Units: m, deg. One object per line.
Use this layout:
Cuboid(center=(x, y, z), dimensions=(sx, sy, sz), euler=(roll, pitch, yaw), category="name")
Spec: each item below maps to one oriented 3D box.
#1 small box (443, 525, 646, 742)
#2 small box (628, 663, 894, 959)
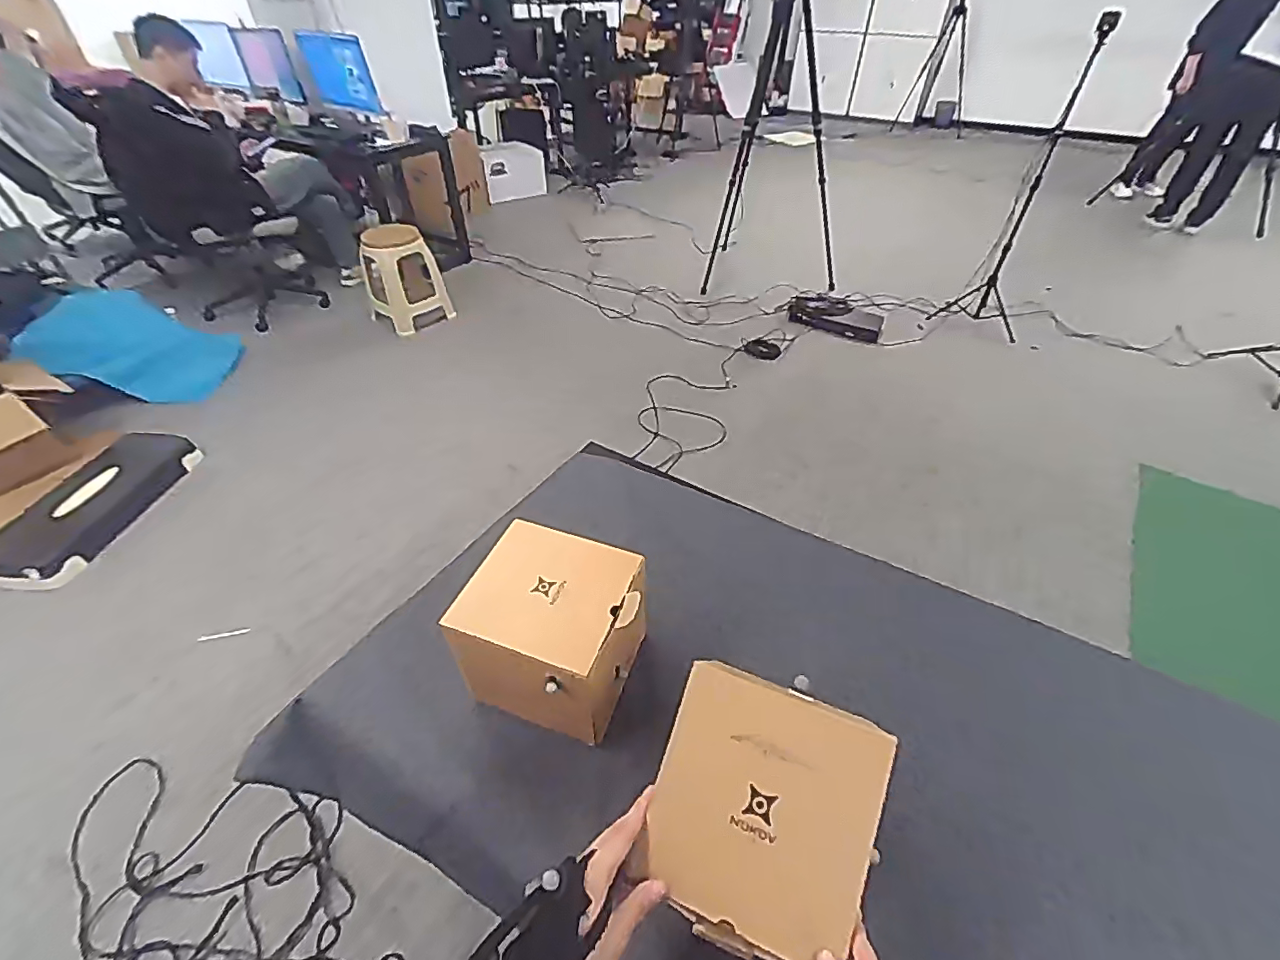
Cuboid(center=(-0.103, 0.185, 0.654), dimensions=(0.179, 0.176, 0.168), euler=(14, 43, 14), category="small box")
Cuboid(center=(0.110, 0.281, 0.489), dimensions=(0.168, 0.176, 0.179), euler=(15, 75, 18), category="small box")
